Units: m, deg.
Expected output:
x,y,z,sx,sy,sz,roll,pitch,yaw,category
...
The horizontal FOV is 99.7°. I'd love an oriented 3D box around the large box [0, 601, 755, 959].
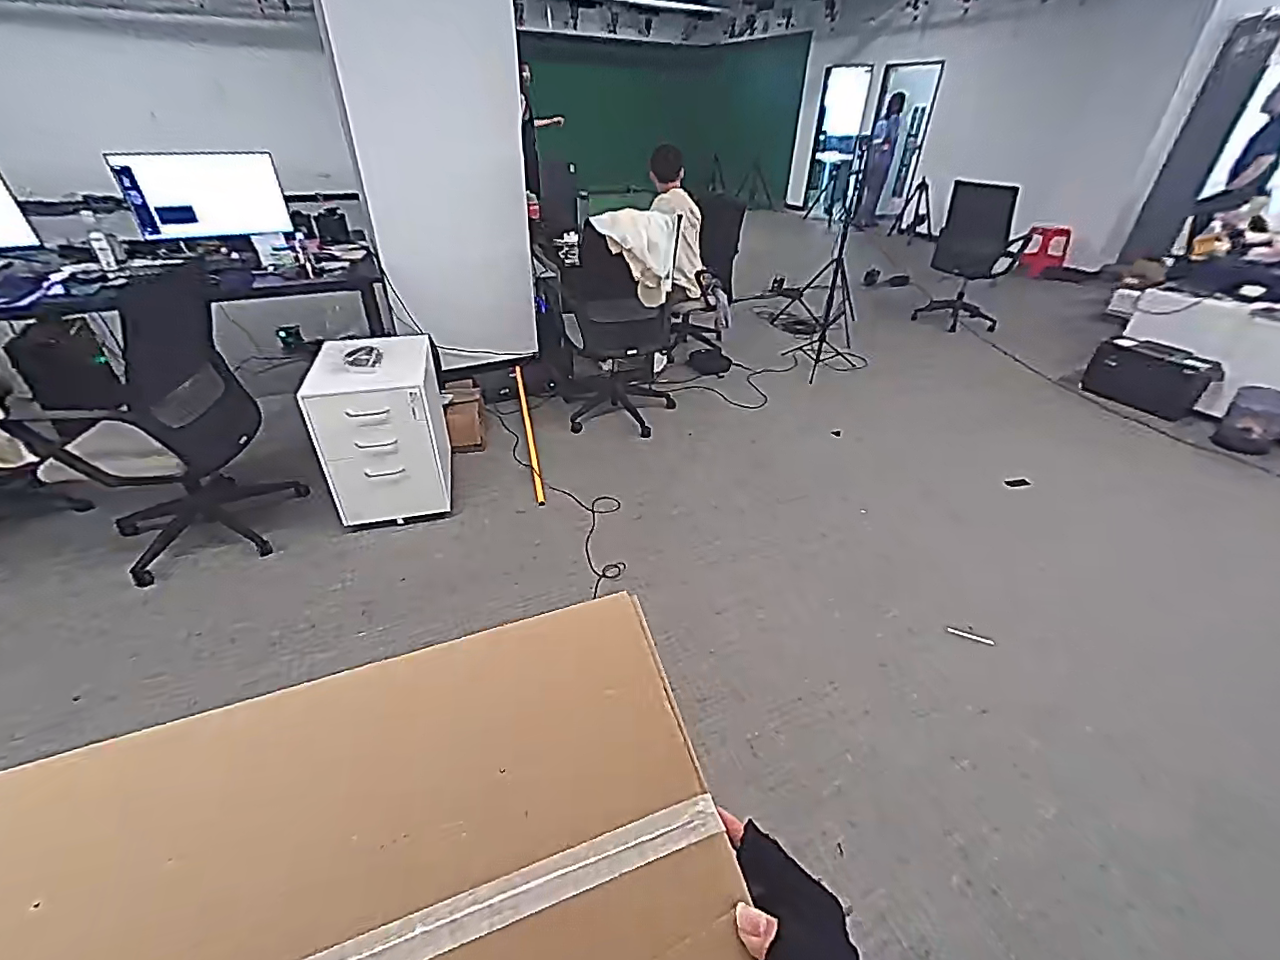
x,y,z,sx,sy,sz,roll,pitch,yaw,category
-0.156,0.344,0.397,0.408,0.320,0.320,-13,51,-14,large box
